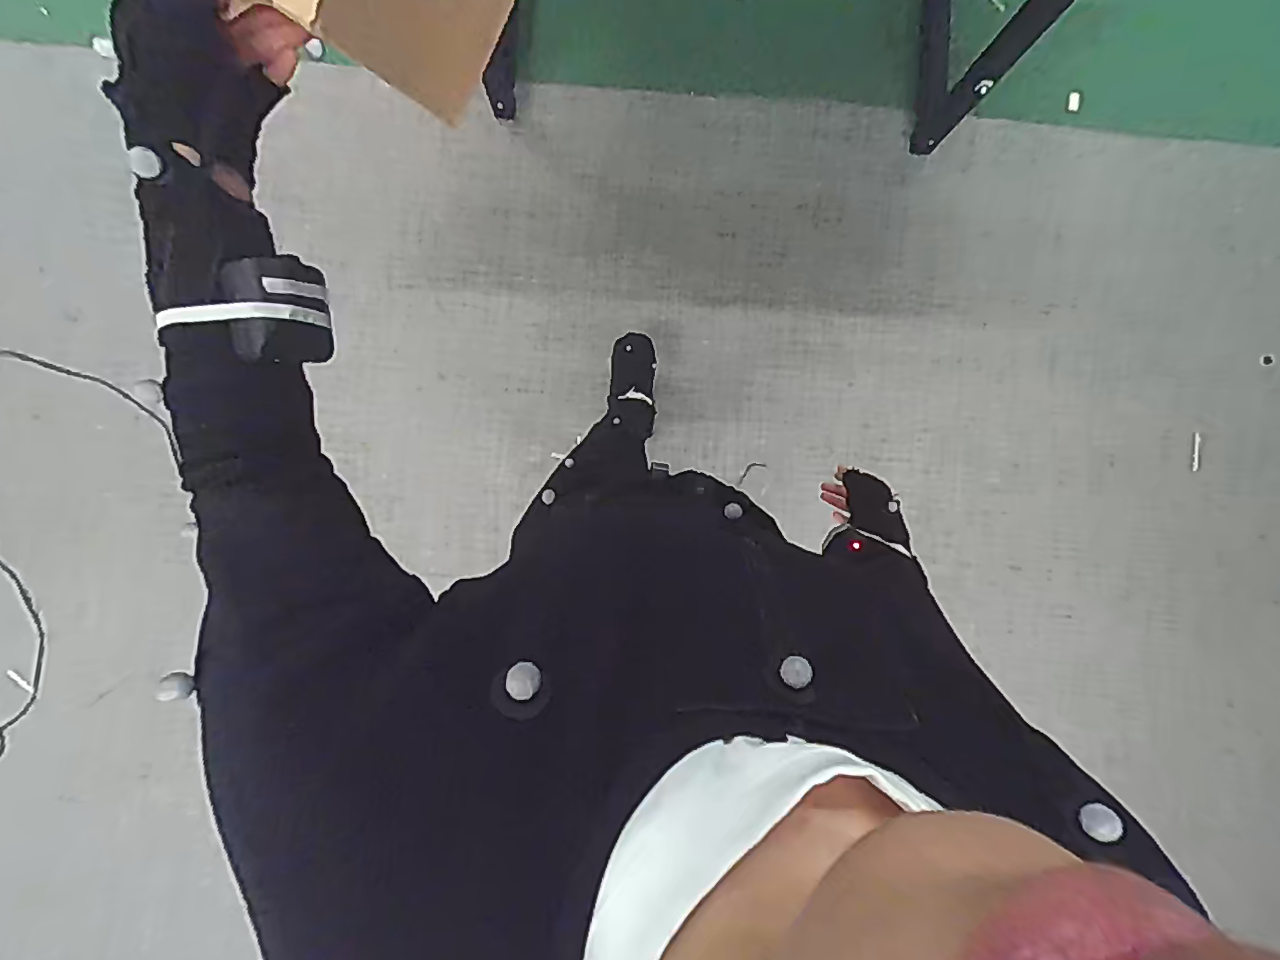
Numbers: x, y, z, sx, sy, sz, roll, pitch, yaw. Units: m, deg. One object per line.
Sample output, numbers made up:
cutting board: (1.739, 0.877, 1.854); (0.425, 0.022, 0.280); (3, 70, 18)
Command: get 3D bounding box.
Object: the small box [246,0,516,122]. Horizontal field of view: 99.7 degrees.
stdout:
small box: (-0.198, -0.400, 0.381); (0.168, 0.176, 0.179); (36, 110, 1)
